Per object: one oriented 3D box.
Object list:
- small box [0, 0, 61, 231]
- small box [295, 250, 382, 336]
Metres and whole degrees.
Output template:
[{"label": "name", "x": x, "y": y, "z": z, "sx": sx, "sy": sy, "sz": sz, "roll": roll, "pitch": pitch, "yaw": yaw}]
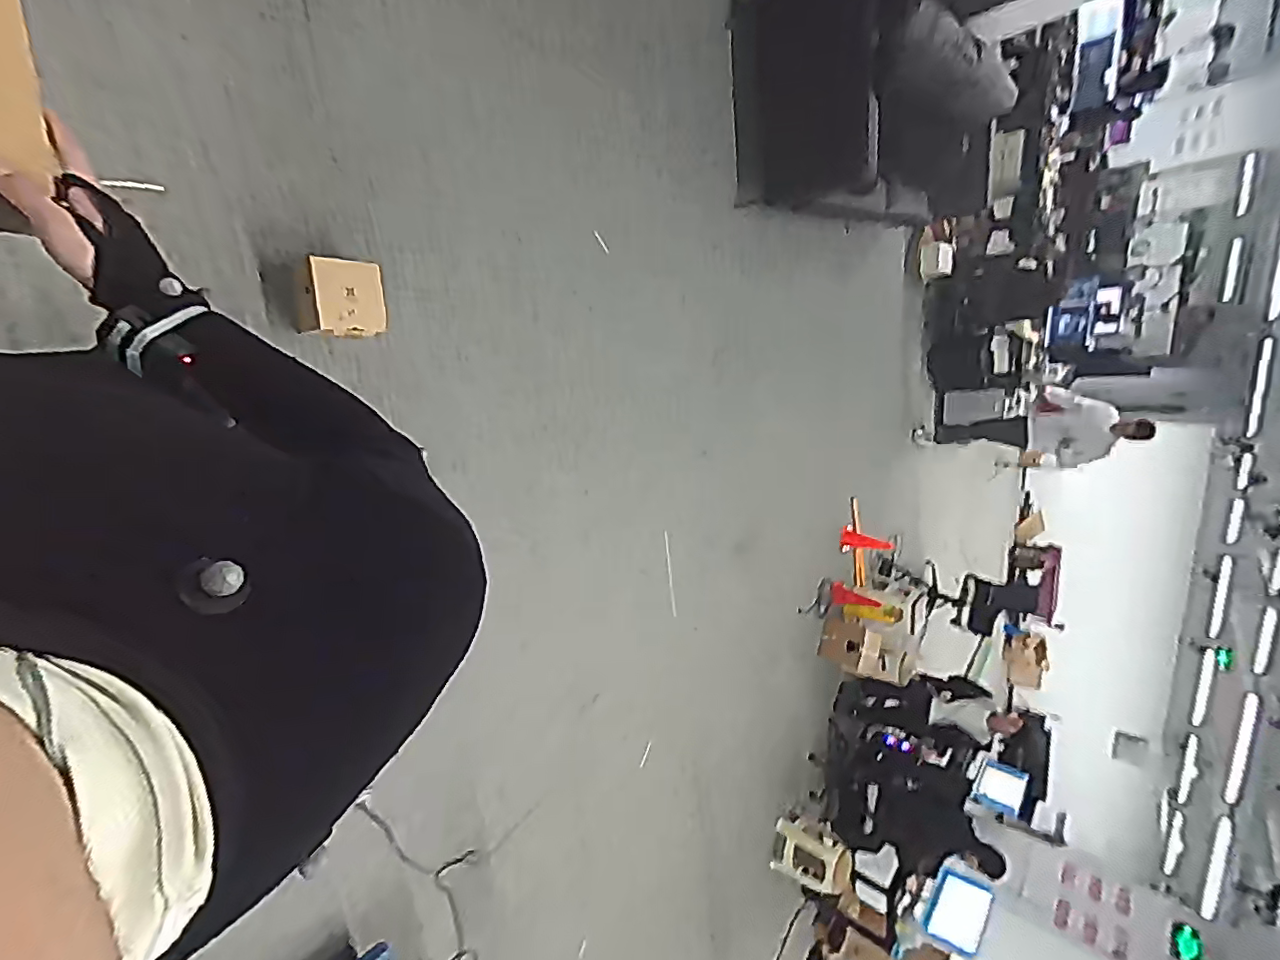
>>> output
[{"label": "small box", "x": -0.598, "y": -0.307, "z": 0.421, "sx": 0.179, "sy": 0.176, "sz": 0.168, "roll": -14, "pitch": 107, "yaw": -50}, {"label": "small box", "x": -0.796, "y": -0.483, "z": 1.425, "sx": 0.168, "sy": 0.176, "sz": 0.179, "roll": -4, "pitch": 100, "yaw": -45}]
